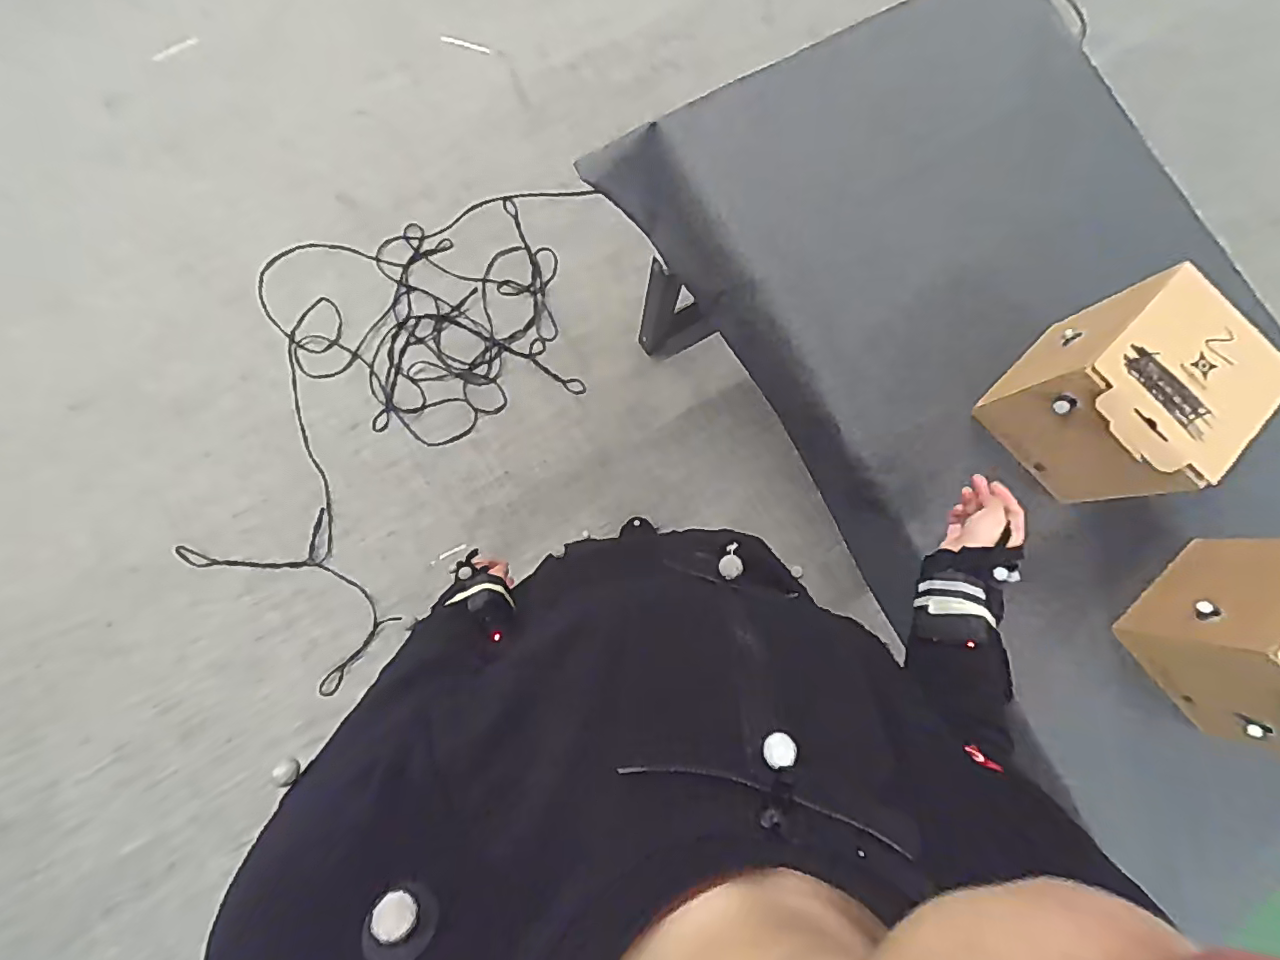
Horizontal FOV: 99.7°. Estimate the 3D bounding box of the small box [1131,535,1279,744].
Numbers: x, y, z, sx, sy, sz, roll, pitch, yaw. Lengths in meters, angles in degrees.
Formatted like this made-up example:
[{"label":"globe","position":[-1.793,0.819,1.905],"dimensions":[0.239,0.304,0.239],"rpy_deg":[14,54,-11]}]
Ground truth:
[{"label":"small box","position":[0.706,0.177,0.593],"dimensions":[0.179,0.176,0.168],"rpy_deg":[-41,89,-9]}]
